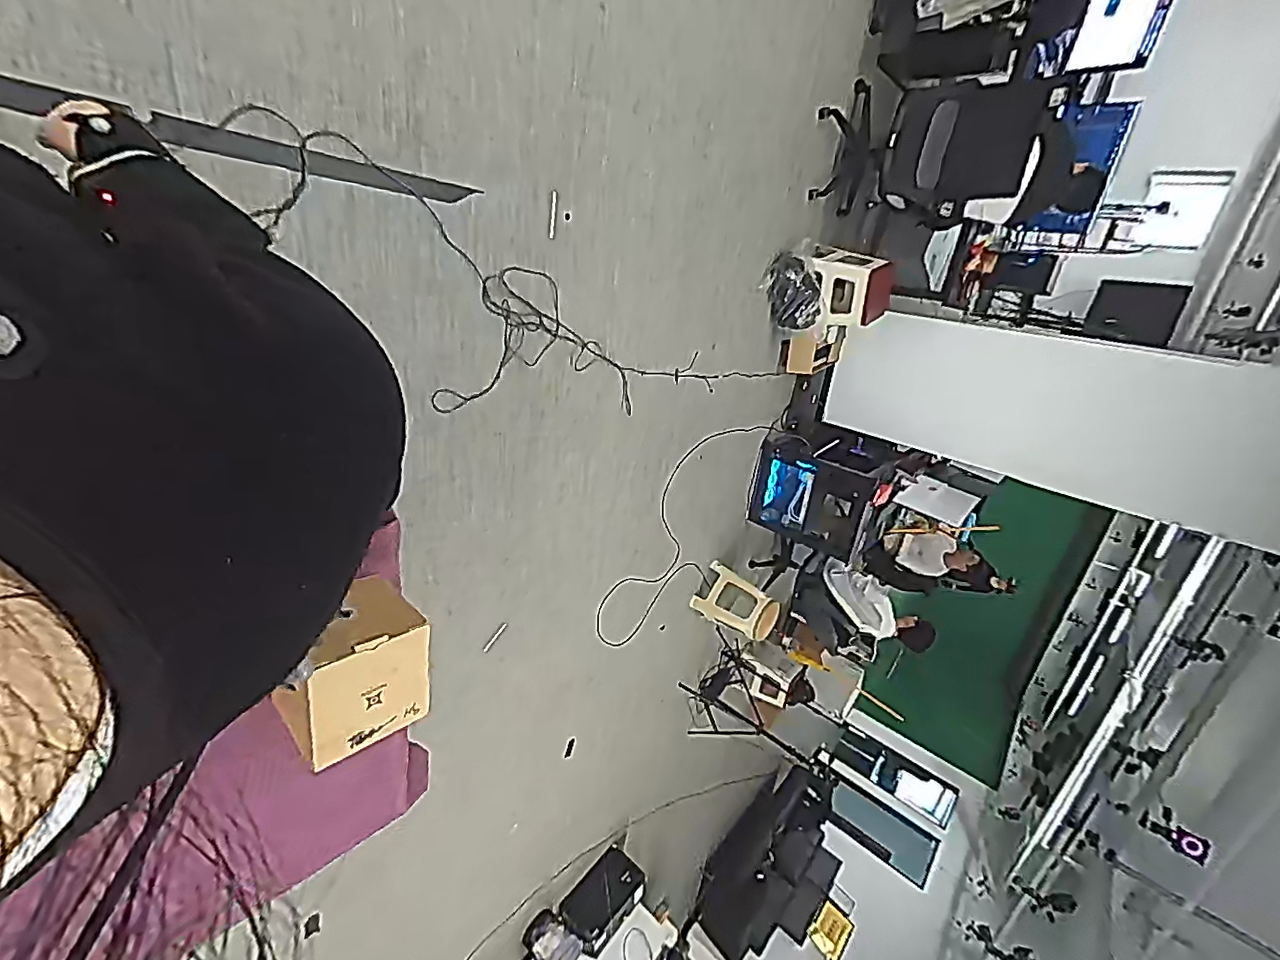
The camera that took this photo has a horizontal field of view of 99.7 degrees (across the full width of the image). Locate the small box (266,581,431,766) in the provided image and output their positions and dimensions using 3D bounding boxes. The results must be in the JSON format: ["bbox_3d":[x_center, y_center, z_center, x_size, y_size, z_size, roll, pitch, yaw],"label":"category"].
[{"bbox_3d":[-0.432,0.269,0.805,0.168,0.176,0.179,-15,121,-47],"label":"small box"}]
